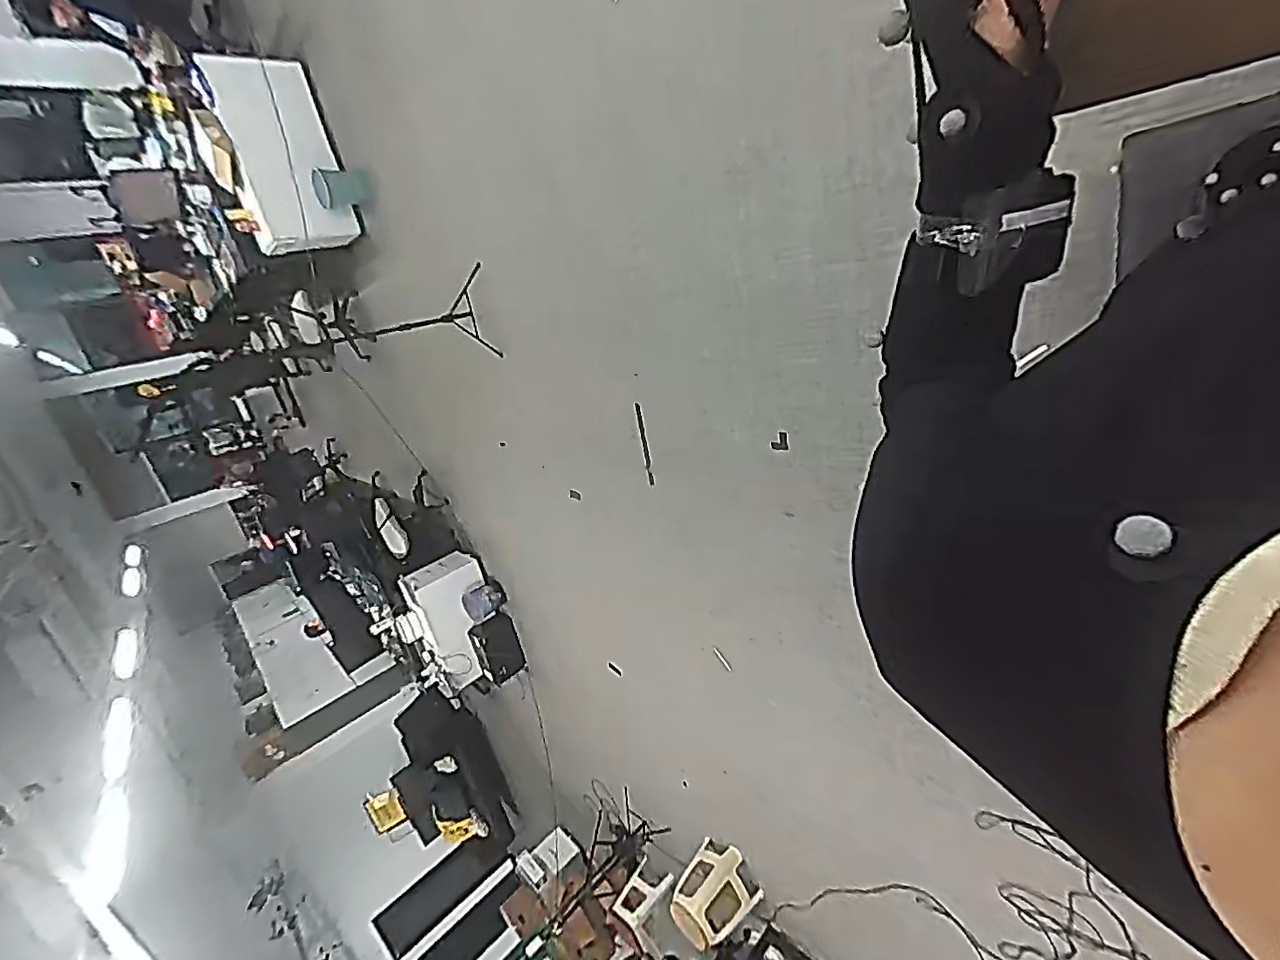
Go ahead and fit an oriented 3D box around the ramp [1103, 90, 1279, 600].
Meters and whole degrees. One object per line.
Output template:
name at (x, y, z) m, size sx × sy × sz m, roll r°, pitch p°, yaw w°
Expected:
ramp at (1.168, -0.165, 0.978) m, size 0.509 × 0.206 × 0.991 m, roll 6°, pitch 117°, yaw 47°
